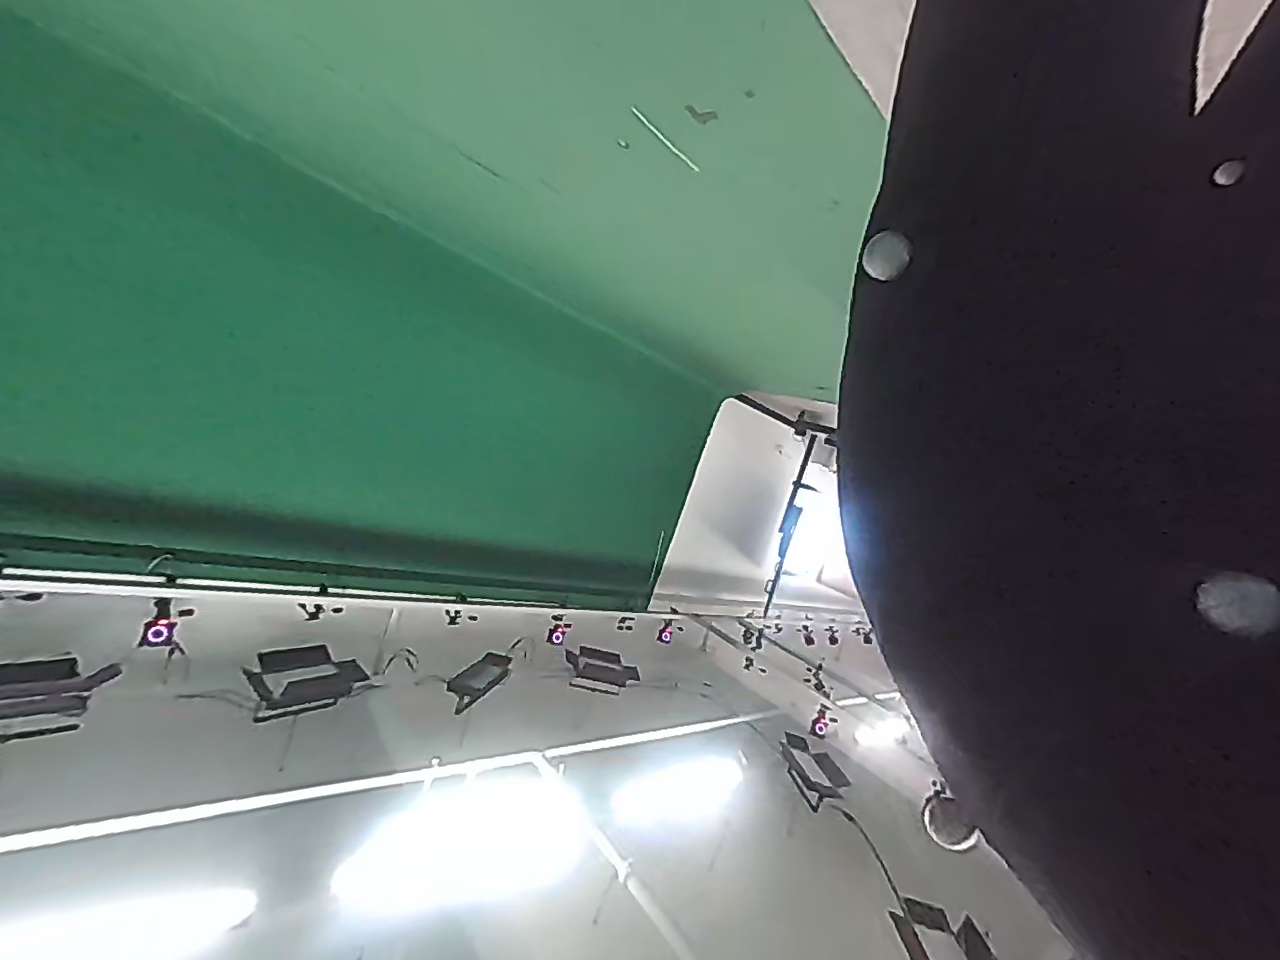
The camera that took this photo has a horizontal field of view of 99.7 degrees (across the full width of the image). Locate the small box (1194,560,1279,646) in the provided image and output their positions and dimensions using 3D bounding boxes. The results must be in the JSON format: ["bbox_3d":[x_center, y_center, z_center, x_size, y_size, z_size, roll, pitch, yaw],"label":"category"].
[{"bbox_3d":[1.606,0.323,1.409,0.179,0.176,0.168,17,-177,-33],"label":"small box"}]
